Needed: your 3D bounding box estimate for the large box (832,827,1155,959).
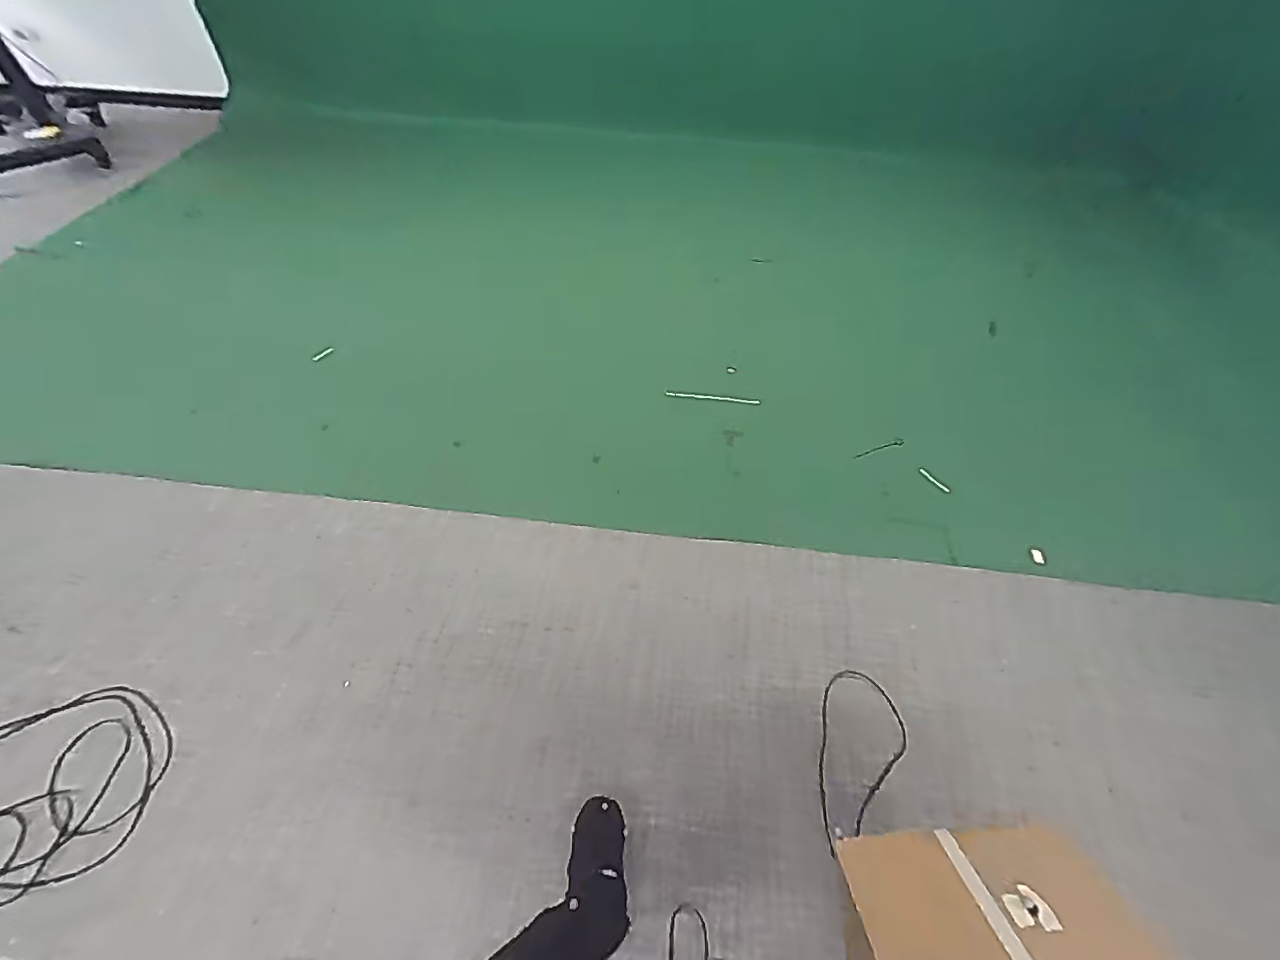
[{"bbox_3d":[0.456,0.710,0.637,0.320,0.408,0.320,-7,97,4],"label":"large box"}]
